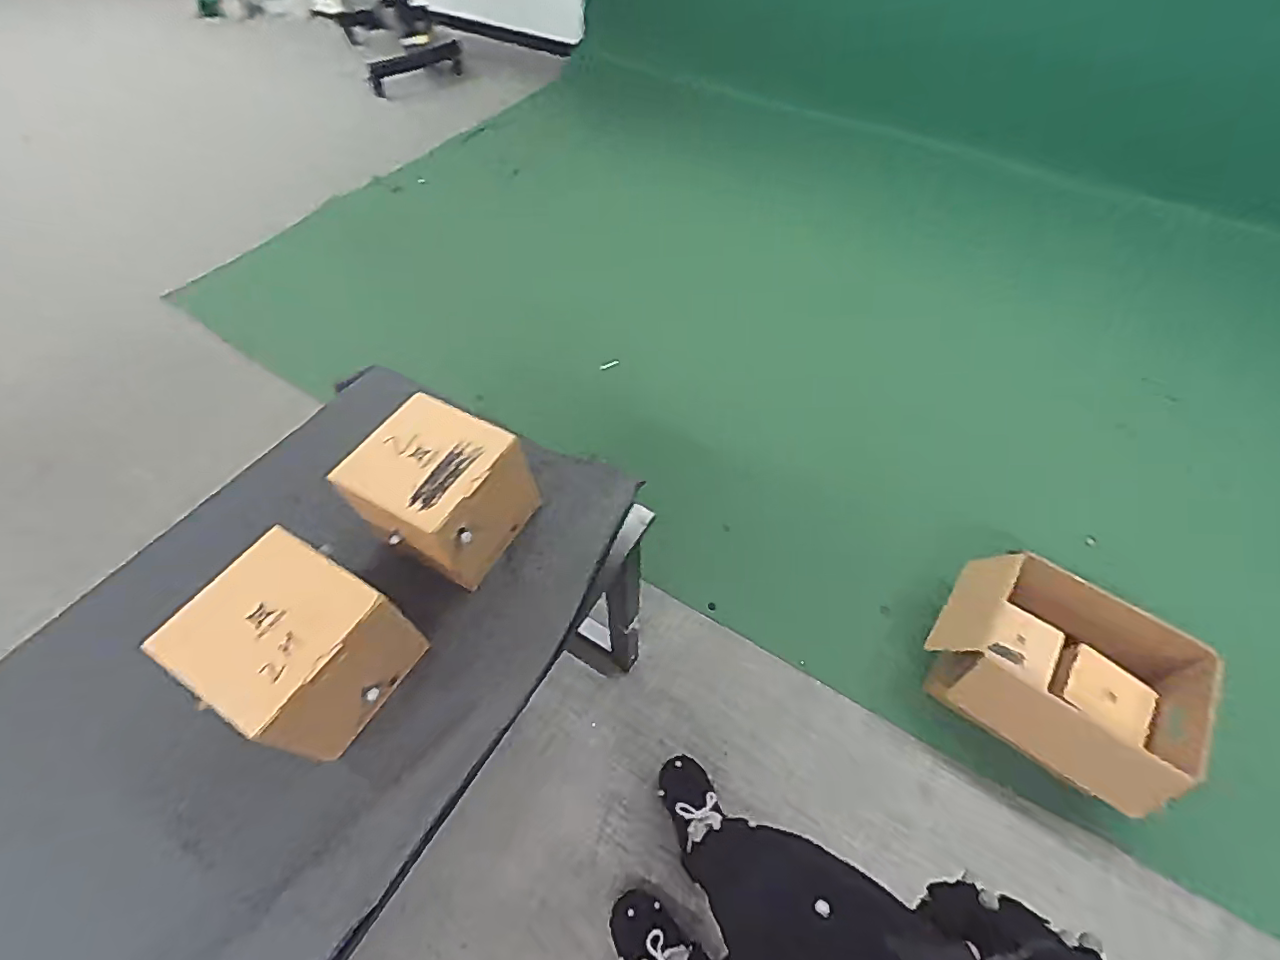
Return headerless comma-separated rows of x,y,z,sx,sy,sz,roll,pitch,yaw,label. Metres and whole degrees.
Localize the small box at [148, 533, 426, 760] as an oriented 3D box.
-0.388,0.199,0.629,0.179,0.176,0.168,26,59,17,small box
